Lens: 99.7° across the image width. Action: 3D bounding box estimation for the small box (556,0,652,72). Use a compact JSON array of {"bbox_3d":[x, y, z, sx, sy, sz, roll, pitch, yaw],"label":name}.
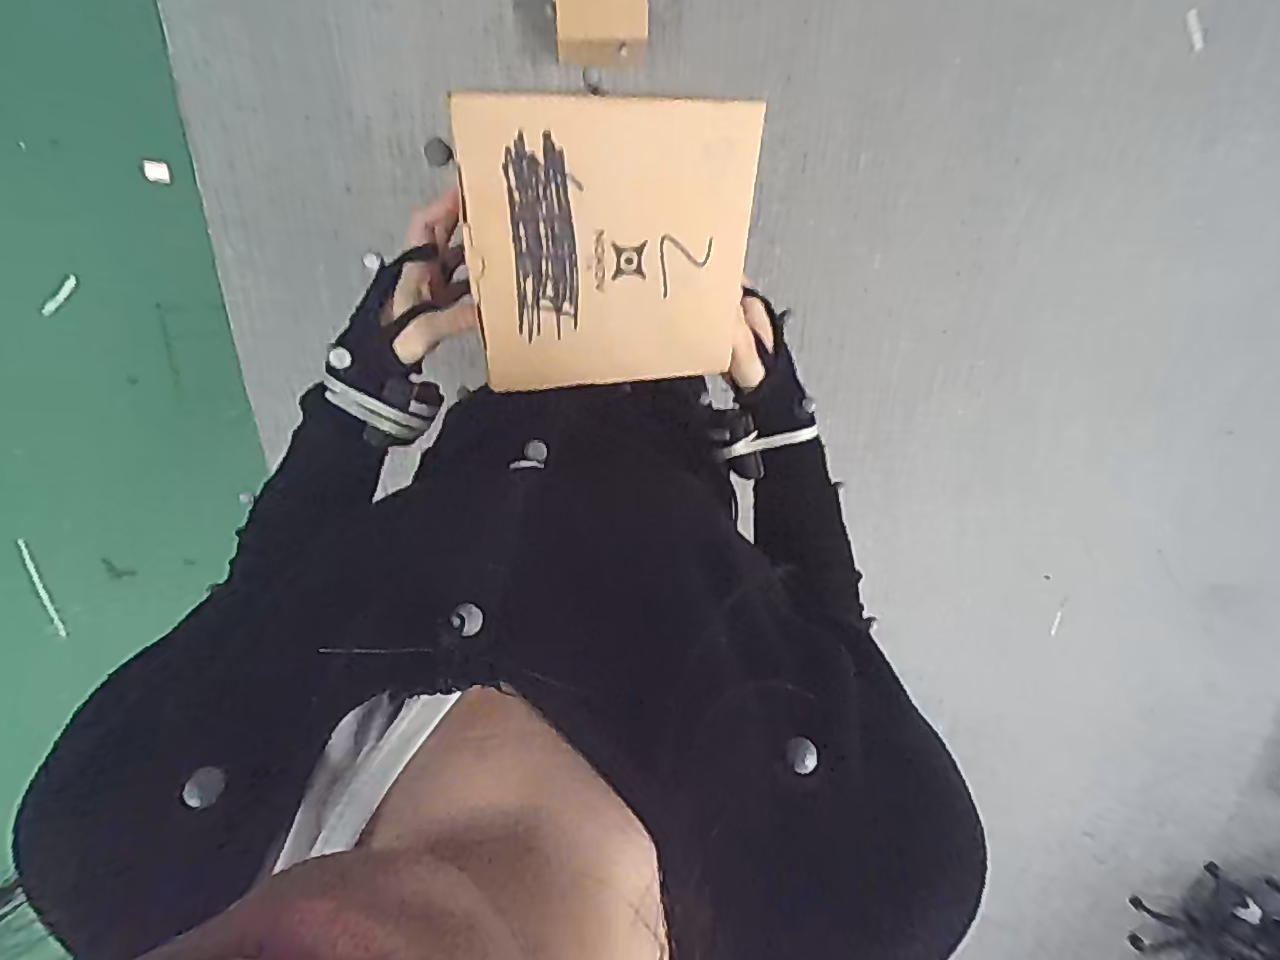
[{"bbox_3d":[-0.076,-0.934,1.071,0.179,0.176,0.168,-5,113,-5],"label":"small box"}]
